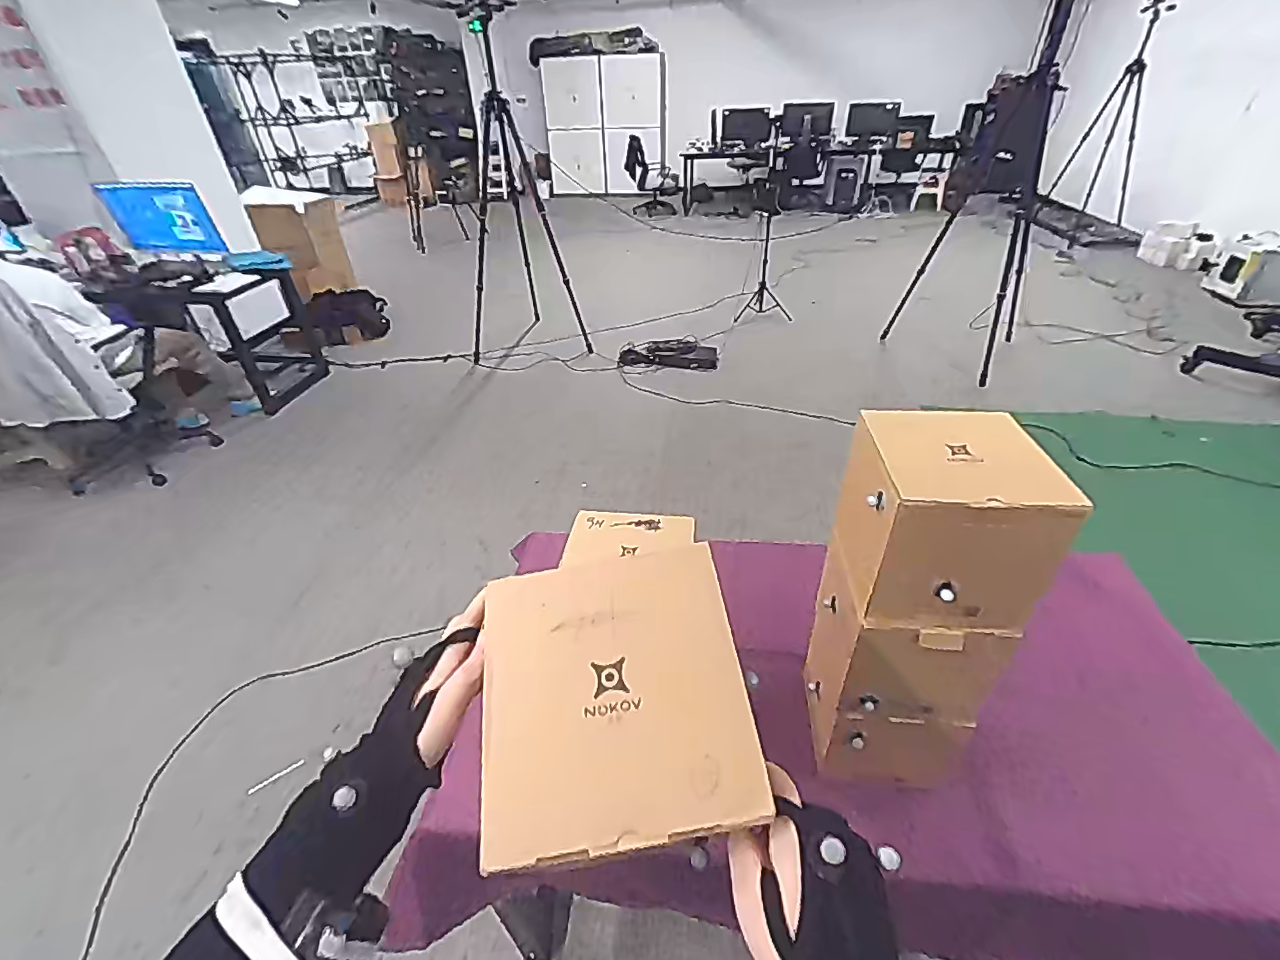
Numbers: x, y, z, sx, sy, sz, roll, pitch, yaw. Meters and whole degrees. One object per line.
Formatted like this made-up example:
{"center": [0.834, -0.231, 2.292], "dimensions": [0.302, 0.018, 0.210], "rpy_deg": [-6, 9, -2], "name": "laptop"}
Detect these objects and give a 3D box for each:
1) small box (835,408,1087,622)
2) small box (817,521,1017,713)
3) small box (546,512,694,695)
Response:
{"center": [0.327, 0.035, 0.602], "dimensions": [0.168, 0.176, 0.179], "rpy_deg": [1, 36, 5], "name": "small box"}
{"center": [0.331, 0.172, 0.689], "dimensions": [0.168, 0.176, 0.179], "rpy_deg": [1, 35, 6], "name": "small box"}
{"center": [-0.014, 0.164, 0.725], "dimensions": [0.168, 0.176, 0.179], "rpy_deg": [3, 37, 7], "name": "small box"}
